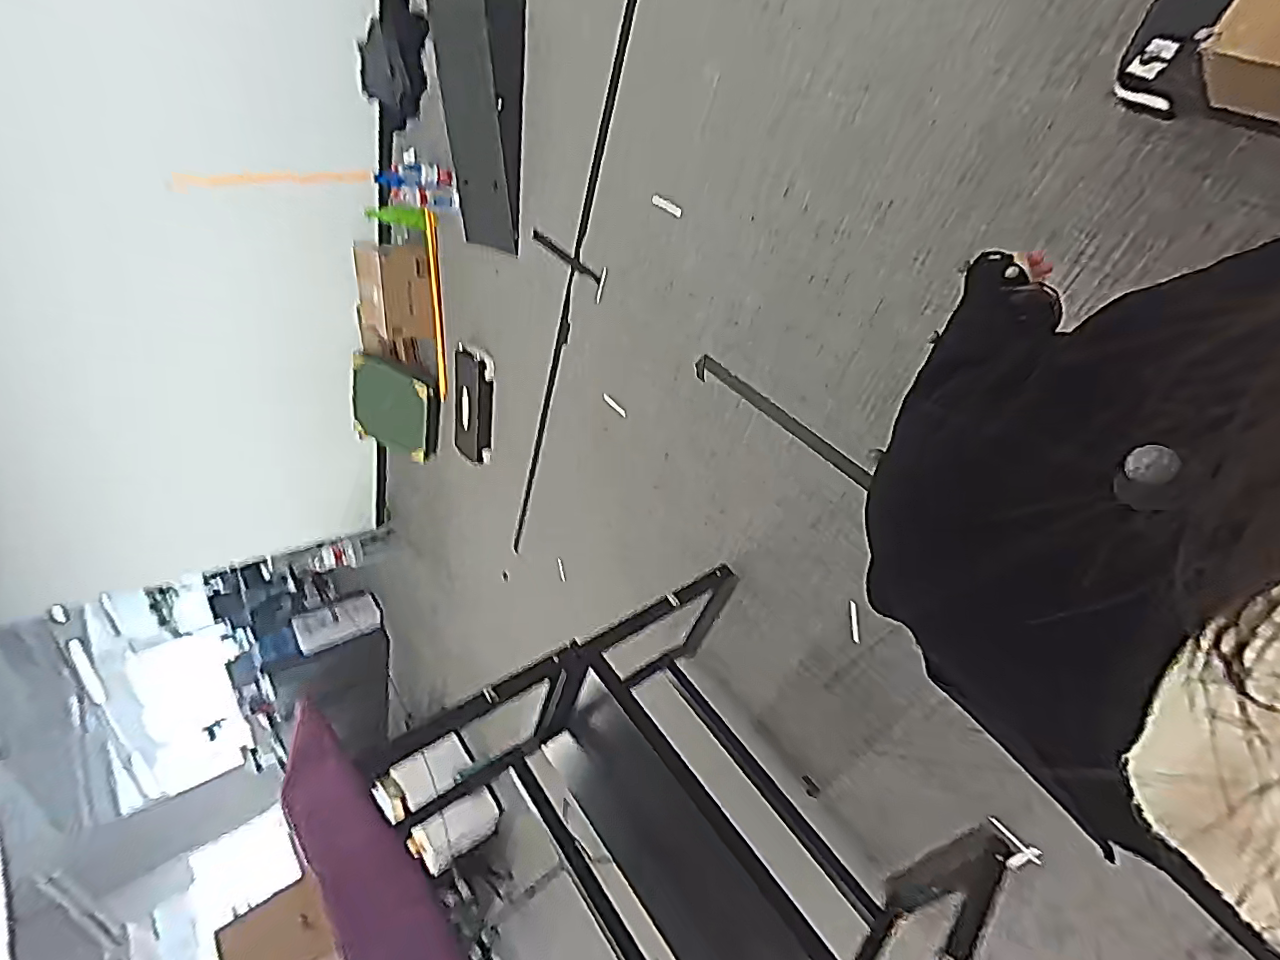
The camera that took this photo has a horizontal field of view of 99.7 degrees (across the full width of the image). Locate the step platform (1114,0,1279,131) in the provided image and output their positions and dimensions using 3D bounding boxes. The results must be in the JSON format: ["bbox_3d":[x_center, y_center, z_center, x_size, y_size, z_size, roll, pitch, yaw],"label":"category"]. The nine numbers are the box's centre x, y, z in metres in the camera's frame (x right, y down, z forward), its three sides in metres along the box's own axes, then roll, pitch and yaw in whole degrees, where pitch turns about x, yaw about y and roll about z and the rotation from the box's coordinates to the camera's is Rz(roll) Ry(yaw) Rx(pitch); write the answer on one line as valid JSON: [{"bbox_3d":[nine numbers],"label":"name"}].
[{"bbox_3d":[1.091,-0.618,0.758,0.684,0.204,0.286,50,134,25],"label":"step platform"}]

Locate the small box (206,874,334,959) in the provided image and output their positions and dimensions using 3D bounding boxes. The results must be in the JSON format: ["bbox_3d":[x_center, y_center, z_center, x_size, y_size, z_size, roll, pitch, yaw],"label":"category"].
[{"bbox_3d":[-0.726,0.926,1.072,0.179,0.176,0.168,46,134,27],"label":"small box"}]

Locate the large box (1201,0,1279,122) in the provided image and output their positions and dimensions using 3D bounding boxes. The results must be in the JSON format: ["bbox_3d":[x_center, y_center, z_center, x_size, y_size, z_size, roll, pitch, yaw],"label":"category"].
[{"bbox_3d":[0.957,-0.546,0.566,0.408,0.320,0.320,45,132,30],"label":"large box"}]
